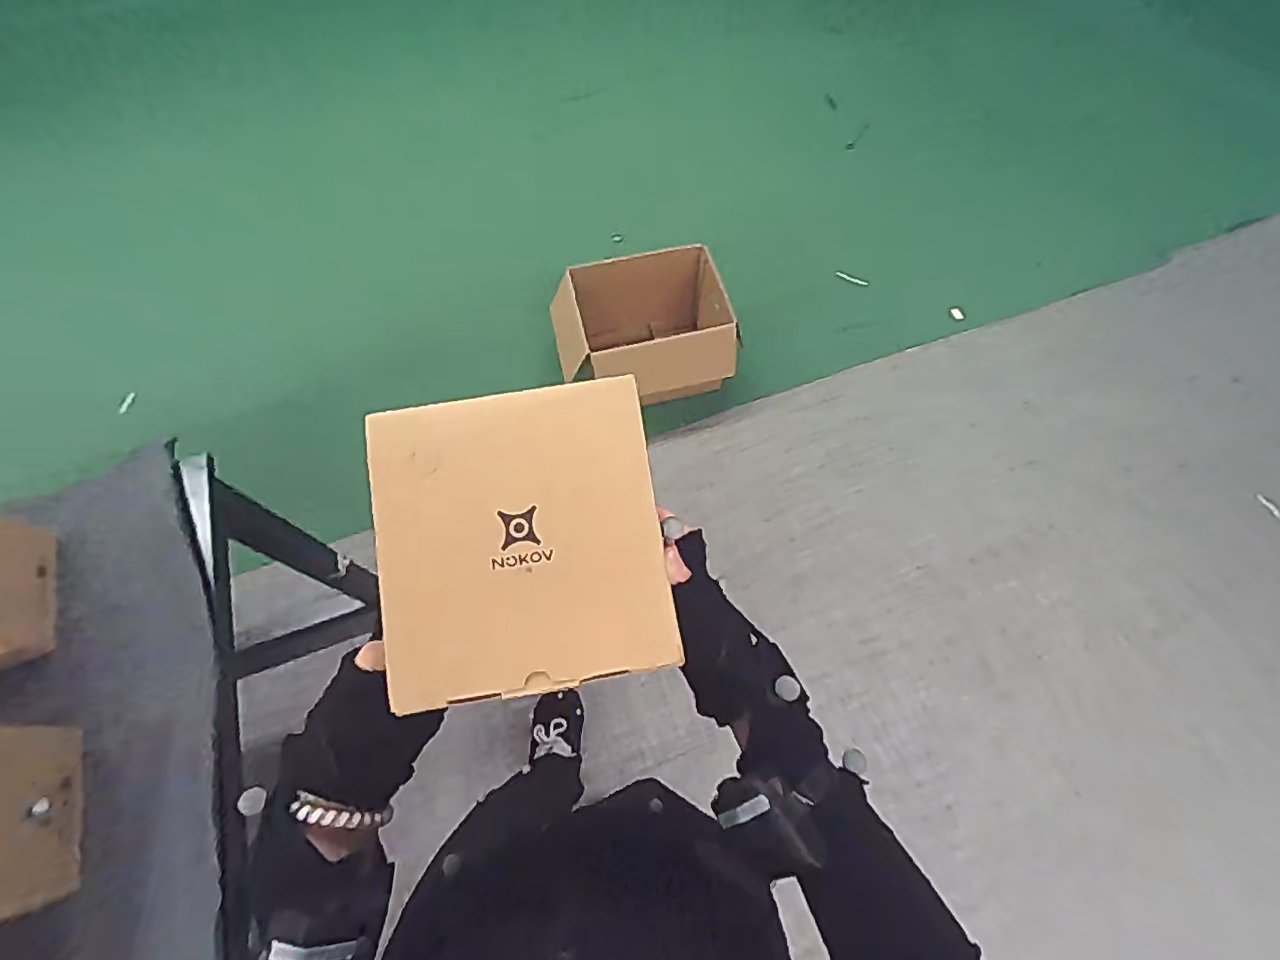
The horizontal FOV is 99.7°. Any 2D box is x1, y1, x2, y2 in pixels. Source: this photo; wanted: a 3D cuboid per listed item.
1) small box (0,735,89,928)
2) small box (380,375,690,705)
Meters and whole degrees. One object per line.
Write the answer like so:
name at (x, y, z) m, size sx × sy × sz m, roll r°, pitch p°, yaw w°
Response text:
small box at (-0.684, 0.354, 0.501) m, size 0.179 × 0.176 × 0.168 m, roll -20°, pitch 67°, yaw -10°
small box at (-0.067, 0.043, 0.395) m, size 0.168 × 0.176 × 0.179 m, roll -9°, pitch 82°, yaw -3°
